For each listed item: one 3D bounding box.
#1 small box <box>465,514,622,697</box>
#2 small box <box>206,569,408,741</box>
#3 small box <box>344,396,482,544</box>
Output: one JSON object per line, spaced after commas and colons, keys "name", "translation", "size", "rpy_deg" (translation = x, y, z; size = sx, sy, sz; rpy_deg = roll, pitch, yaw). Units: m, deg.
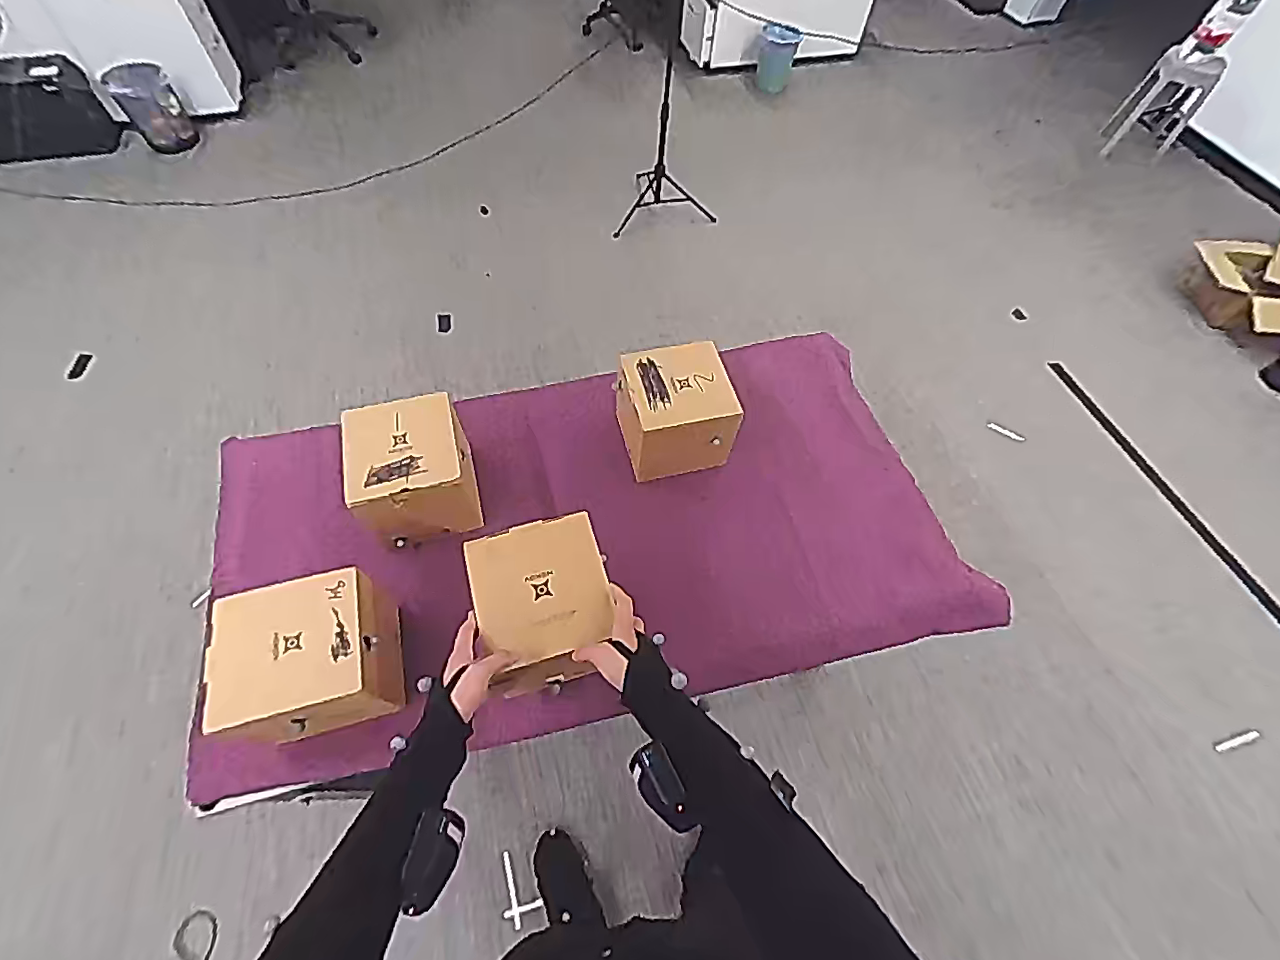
{"name": "small box", "translation": [-0.129, 0.175, 0.739], "size": [0.168, 0.176, 0.179], "rpy_deg": [-14, 62, -12]}
{"name": "small box", "translation": [-0.440, 0.245, 0.741], "size": [0.179, 0.176, 0.168], "rpy_deg": [-13, 62, -10]}
{"name": "small box", "translation": [-0.369, -0.008, 0.896], "size": [0.168, 0.176, 0.179], "rpy_deg": [-13, 61, -11]}
